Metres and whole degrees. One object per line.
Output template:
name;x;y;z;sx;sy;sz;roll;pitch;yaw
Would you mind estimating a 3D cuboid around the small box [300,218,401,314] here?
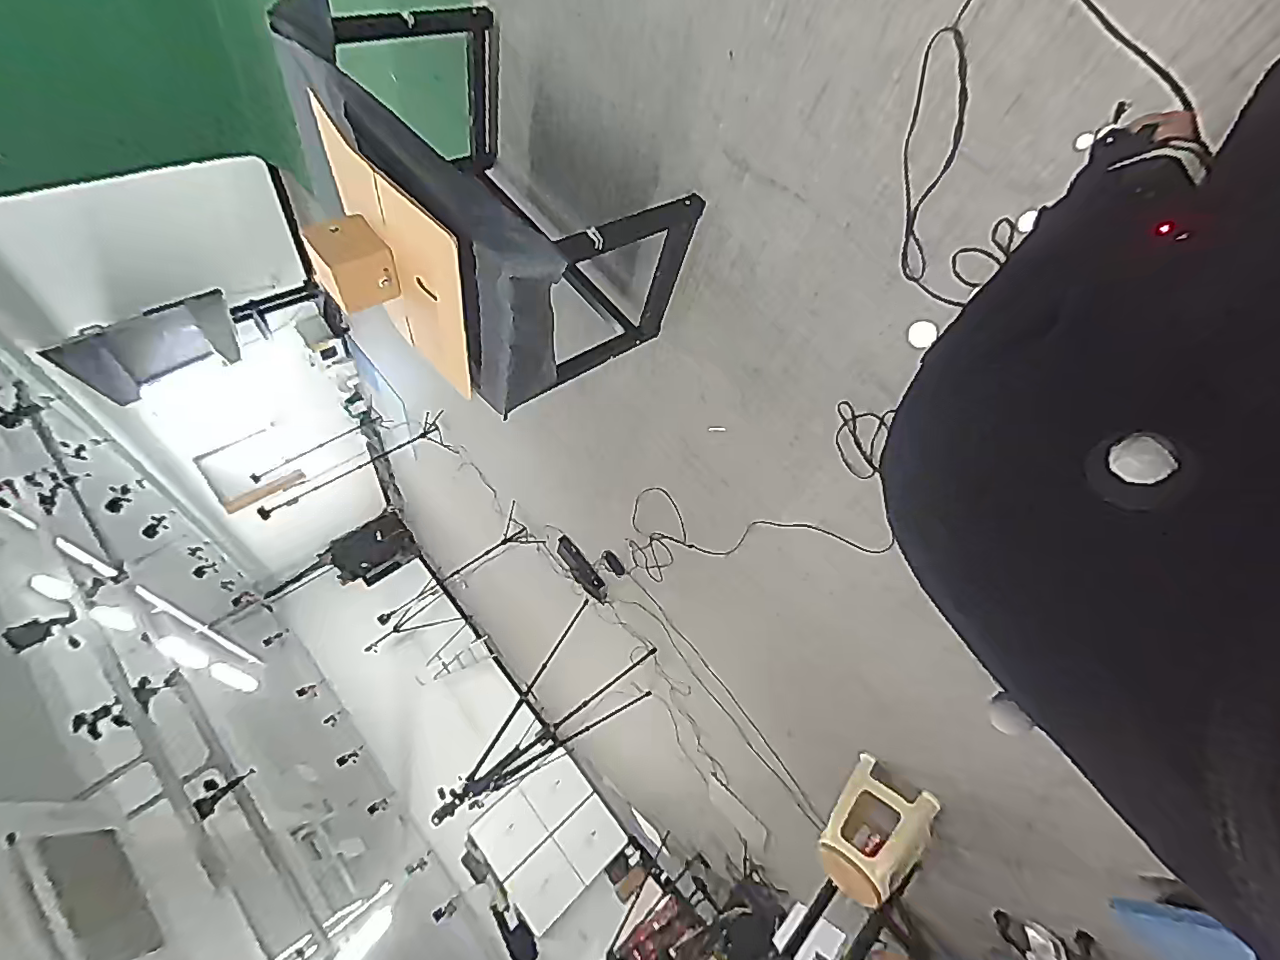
small box;-0.804;-0.607;1.516;0.179;0.176;0.168;46;153;16
